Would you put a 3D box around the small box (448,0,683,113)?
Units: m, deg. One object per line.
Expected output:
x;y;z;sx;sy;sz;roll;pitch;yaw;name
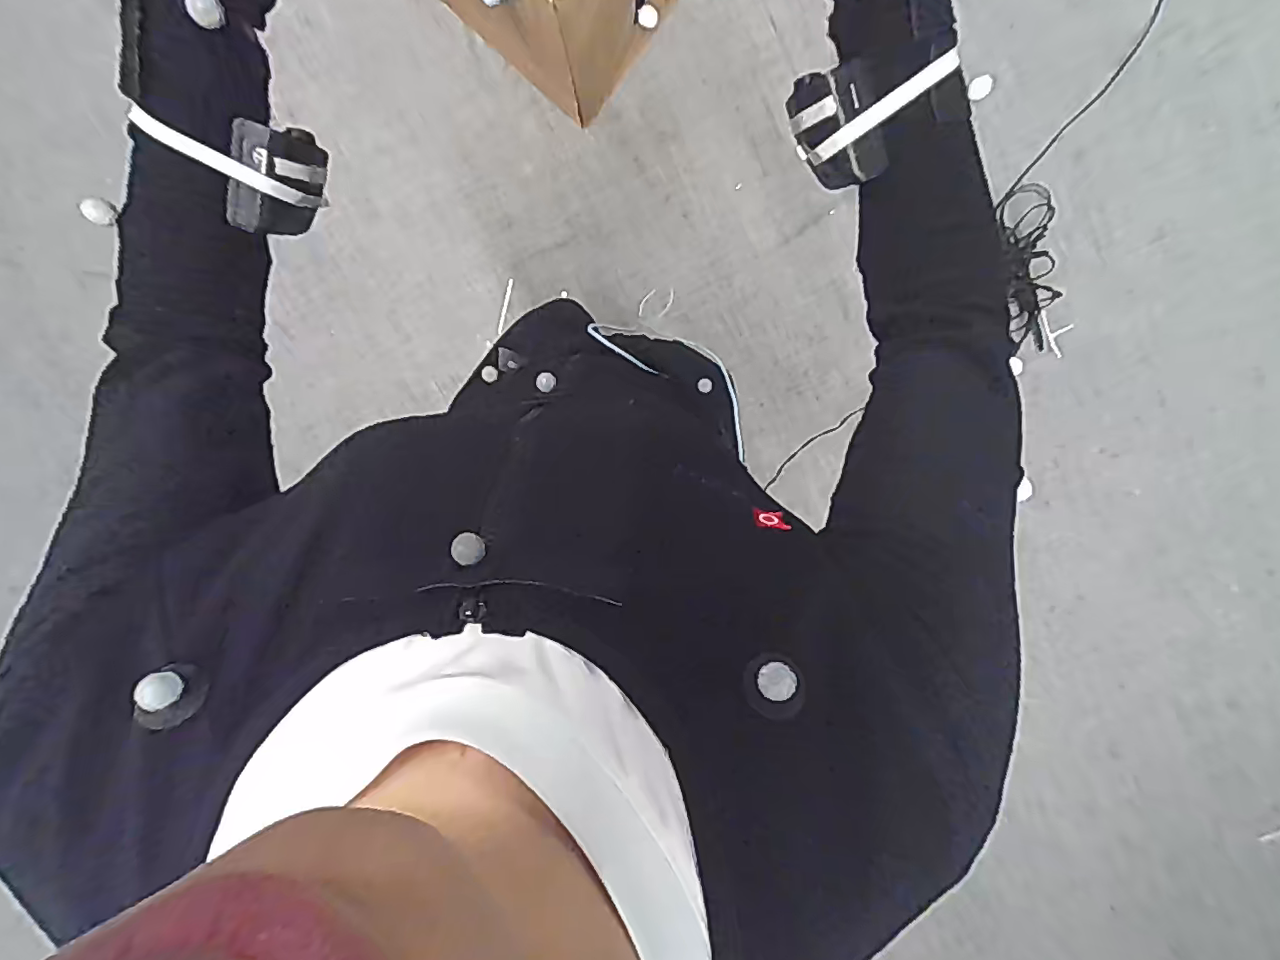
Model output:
-0.055;-0.374;0.325;0.179;0.176;0.168;38;100;-10;small box
